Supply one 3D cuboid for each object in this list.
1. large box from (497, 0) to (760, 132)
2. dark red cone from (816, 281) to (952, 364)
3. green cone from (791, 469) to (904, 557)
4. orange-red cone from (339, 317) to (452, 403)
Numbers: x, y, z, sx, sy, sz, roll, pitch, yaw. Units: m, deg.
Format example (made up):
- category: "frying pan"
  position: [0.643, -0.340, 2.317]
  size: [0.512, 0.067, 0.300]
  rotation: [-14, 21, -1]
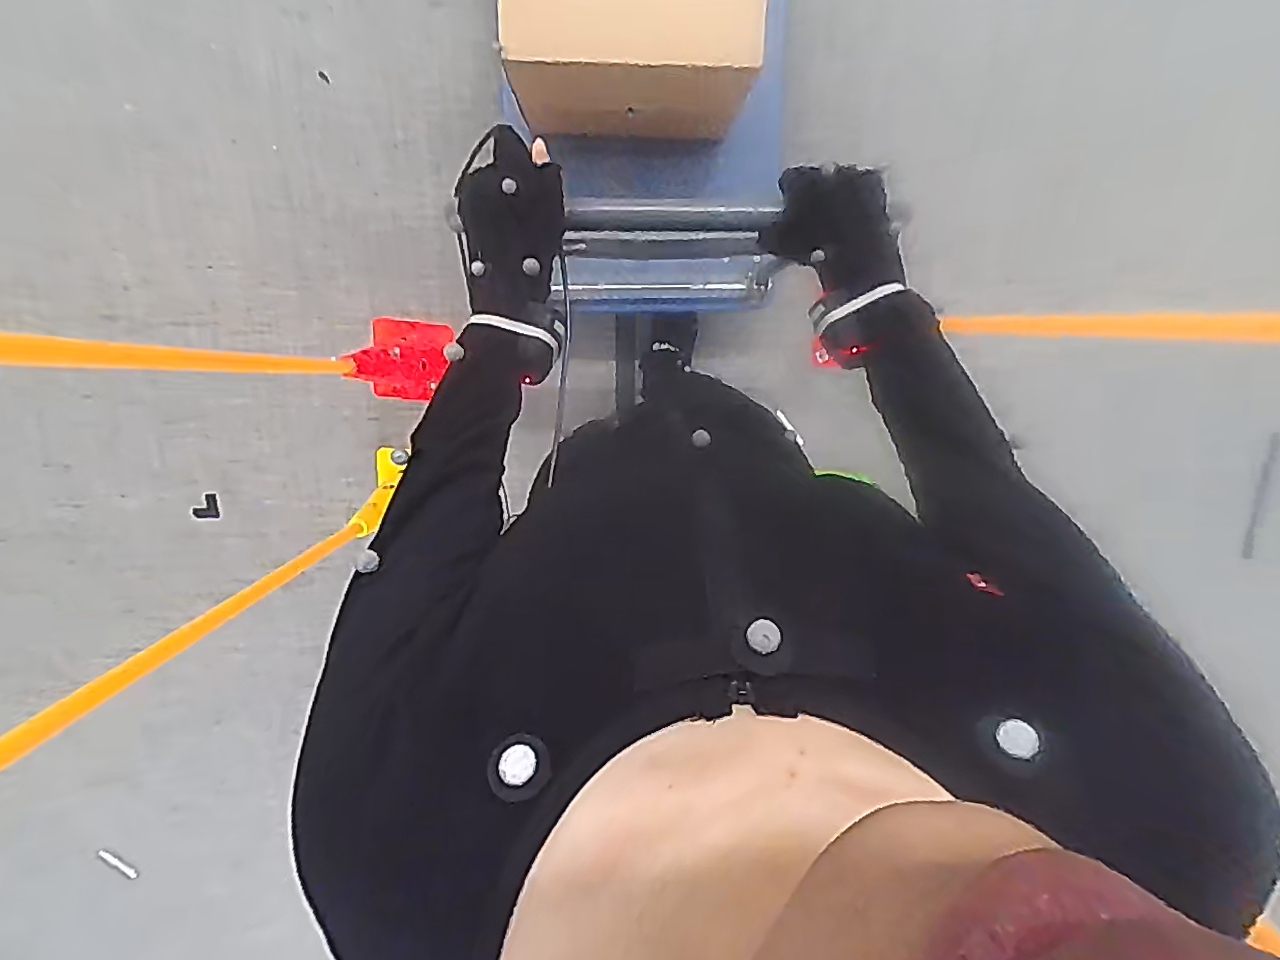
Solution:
- category: "large box"
  position: [-0.019, -0.828, 0.938]
  size: [0.408, 0.320, 0.320]
  rotation: [0, 104, -2]
- category: "dark red cone"
  position: [0.559, -0.357, 1.212]
  size: [0.201, 0.394, 0.202]
  rotation: [-1, 104, -4]
- category: "green cone"
  position: [0.537, 0.110, 1.344]
  size: [0.202, 0.368, 0.200]
  rotation: [3, 104, -4]
- category: "orange-red cone"
  position: [-0.572, -0.266, 1.206]
  size: [0.198, 0.360, 0.199]
  rotation: [6, 102, -5]
